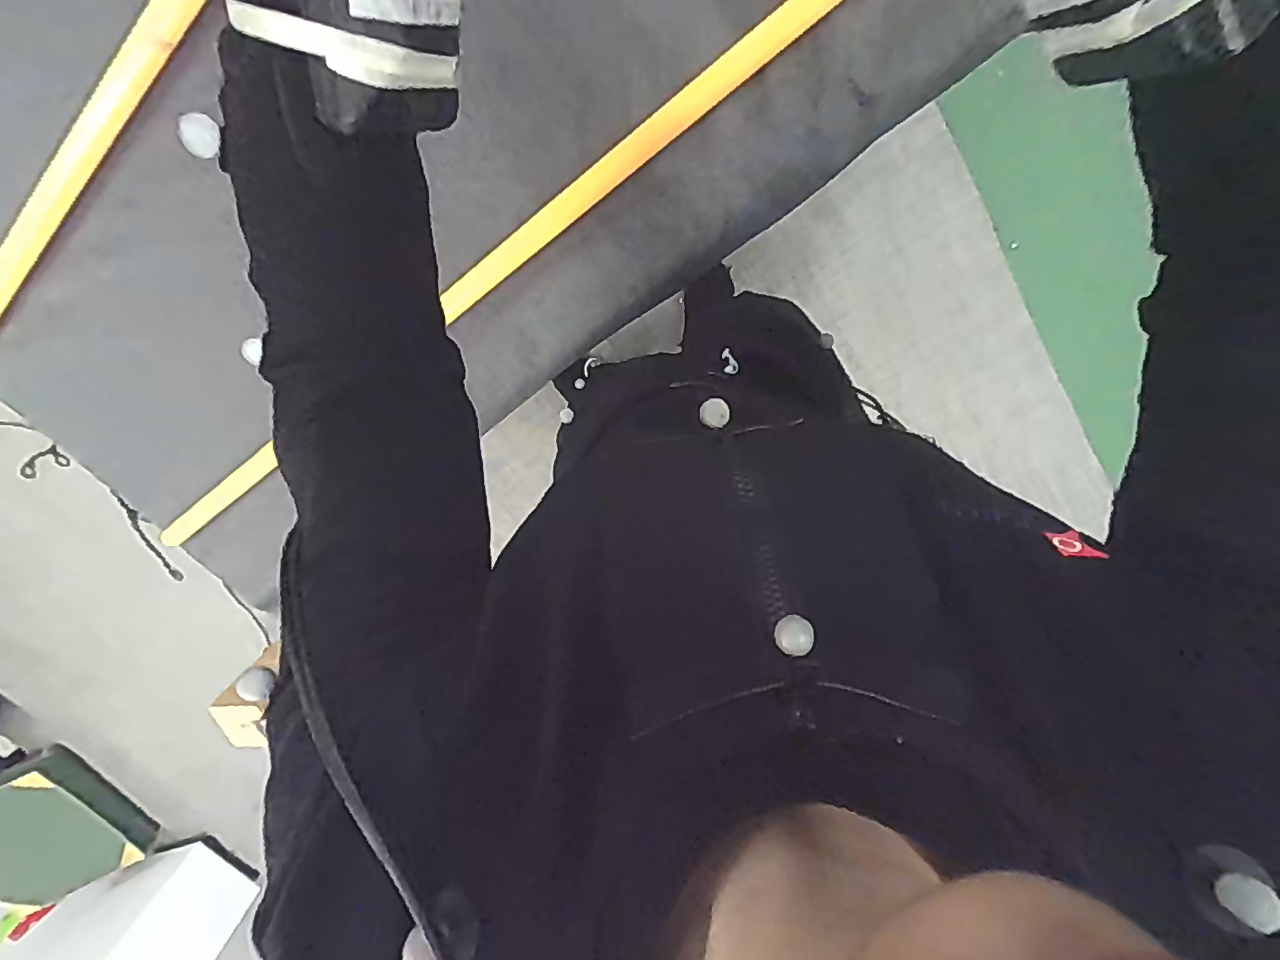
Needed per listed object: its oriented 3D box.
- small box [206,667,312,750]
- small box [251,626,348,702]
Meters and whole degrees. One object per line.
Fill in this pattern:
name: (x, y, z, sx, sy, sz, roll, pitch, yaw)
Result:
small box: (-1.130, 0.682, 1.627, 0.179, 0.176, 0.168, -6, 114, 10)
small box: (-1.104, 0.606, 1.771, 0.168, 0.176, 0.179, -11, 114, 12)
